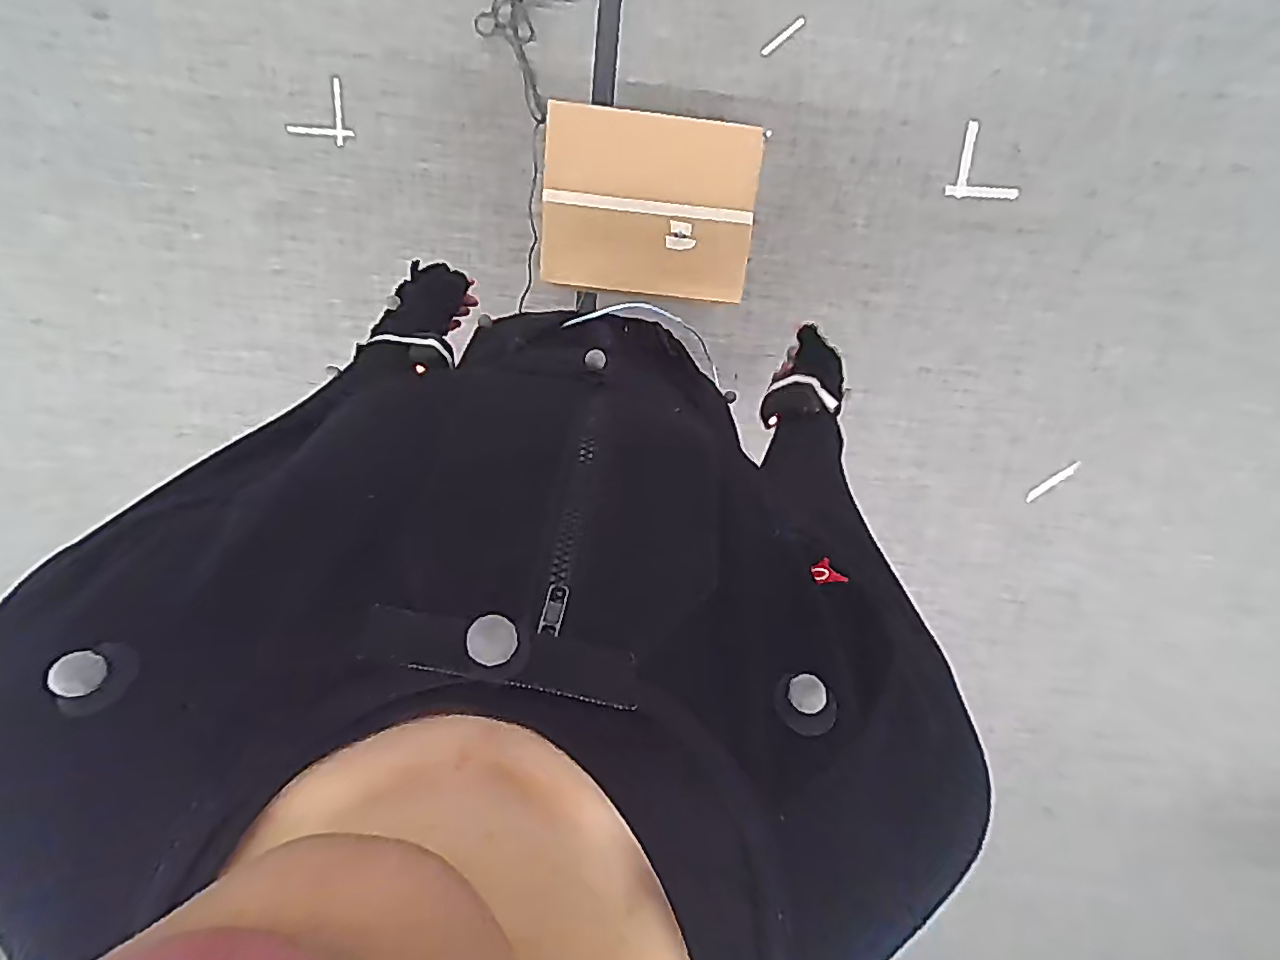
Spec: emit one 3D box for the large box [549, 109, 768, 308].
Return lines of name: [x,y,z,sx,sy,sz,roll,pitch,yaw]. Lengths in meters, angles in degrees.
large box: [0.024,-0.561,1.186,0.408,0.320,0.320,6,107,-4]
